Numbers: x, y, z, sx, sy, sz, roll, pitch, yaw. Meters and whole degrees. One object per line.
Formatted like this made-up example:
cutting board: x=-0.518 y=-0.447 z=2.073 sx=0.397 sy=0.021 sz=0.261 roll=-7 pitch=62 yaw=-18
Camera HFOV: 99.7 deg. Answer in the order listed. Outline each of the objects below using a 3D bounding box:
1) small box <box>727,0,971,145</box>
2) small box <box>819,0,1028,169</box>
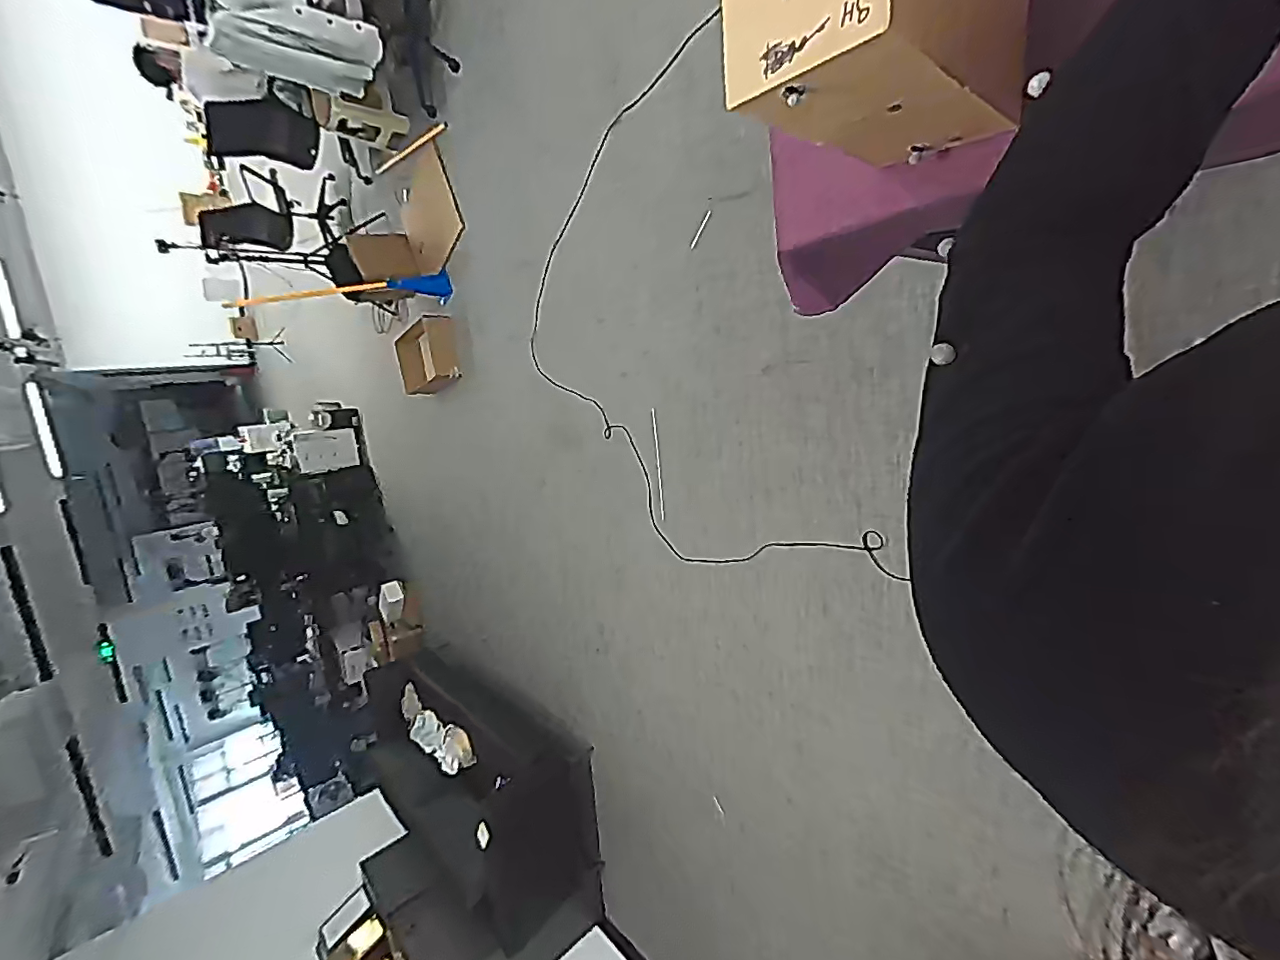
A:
small box: x=0.202 y=-0.460 z=0.522 sx=0.168 sy=0.176 sz=0.179 roll=11 pitch=108 yaw=49
small box: x=0.326 y=-0.490 z=0.627 sx=0.168 sy=0.176 sz=0.179 roll=11 pitch=109 yaw=48
